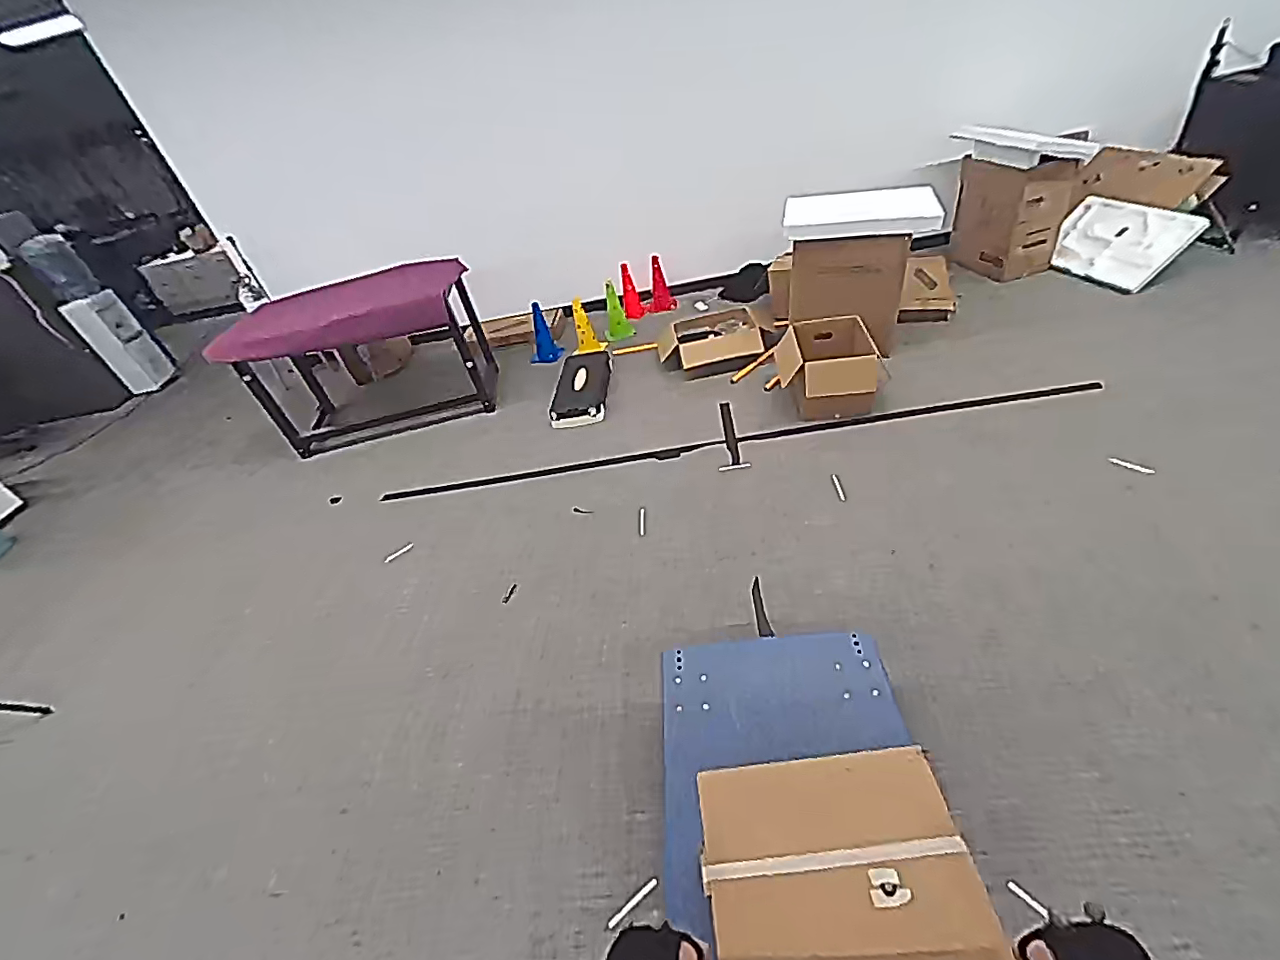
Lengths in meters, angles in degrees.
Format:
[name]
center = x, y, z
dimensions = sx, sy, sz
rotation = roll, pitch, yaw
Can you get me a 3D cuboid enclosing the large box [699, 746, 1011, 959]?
[large box]
center = 0.336, 0.723, 0.963
dimensions = 0.408, 0.320, 0.320
rotation = -9, 40, 4
